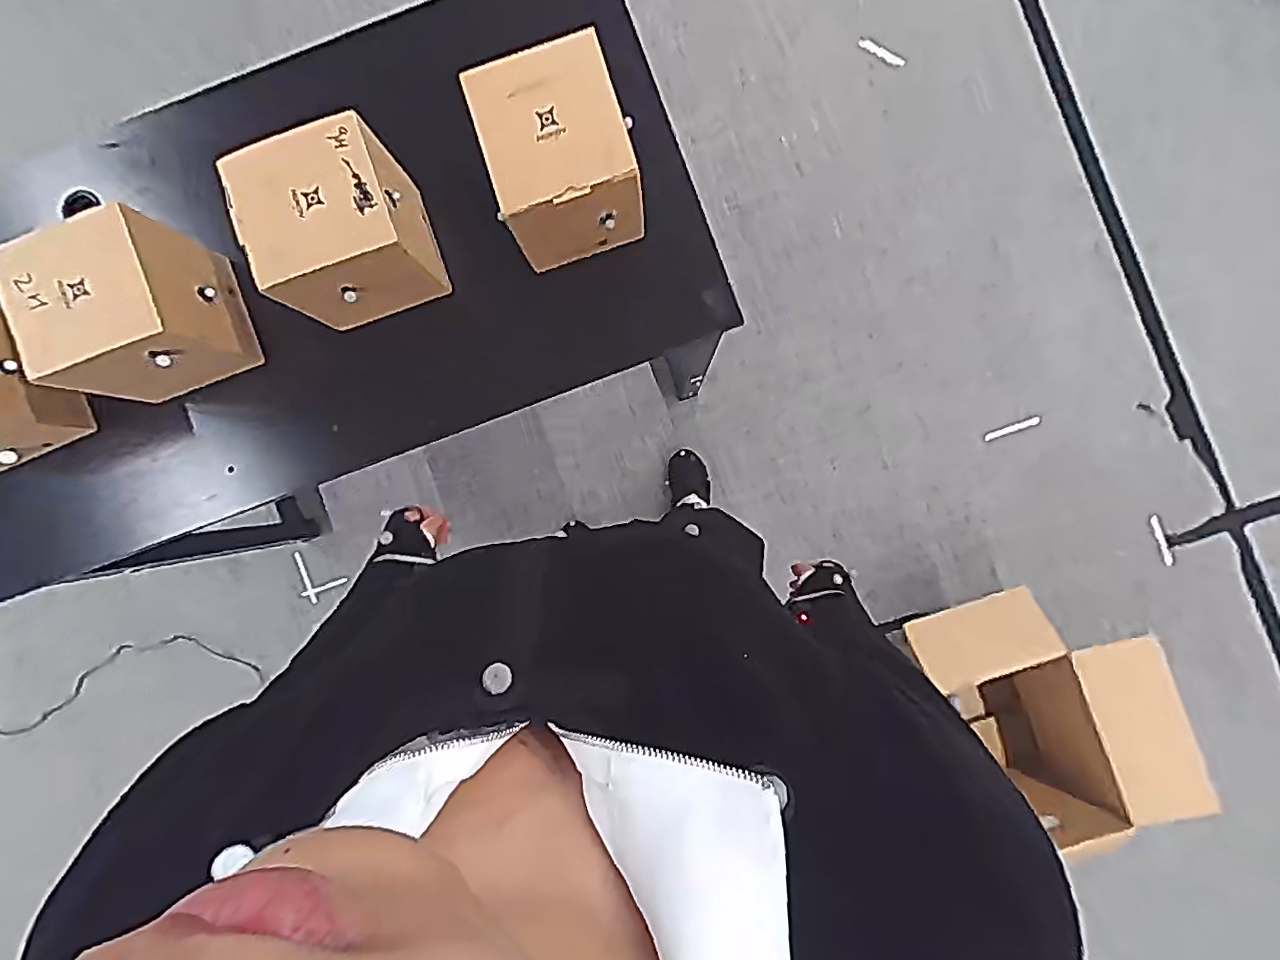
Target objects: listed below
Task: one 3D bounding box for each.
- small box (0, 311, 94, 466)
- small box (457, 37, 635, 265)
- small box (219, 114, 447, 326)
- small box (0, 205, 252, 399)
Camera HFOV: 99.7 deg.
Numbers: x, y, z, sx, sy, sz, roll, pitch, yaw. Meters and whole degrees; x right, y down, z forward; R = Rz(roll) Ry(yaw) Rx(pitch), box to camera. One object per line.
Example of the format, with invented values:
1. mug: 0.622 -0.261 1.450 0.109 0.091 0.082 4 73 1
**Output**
1. small box: -0.911 -0.126 0.722 0.168 0.176 0.179 -22 90 1
2. small box: -0.108 -0.403 0.701 0.168 0.176 0.179 -18 88 1
3. small box: -0.386 -0.322 0.709 0.179 0.176 0.168 -19 89 2
4. small box: -0.661 -0.220 0.715 0.179 0.176 0.168 -21 89 1
